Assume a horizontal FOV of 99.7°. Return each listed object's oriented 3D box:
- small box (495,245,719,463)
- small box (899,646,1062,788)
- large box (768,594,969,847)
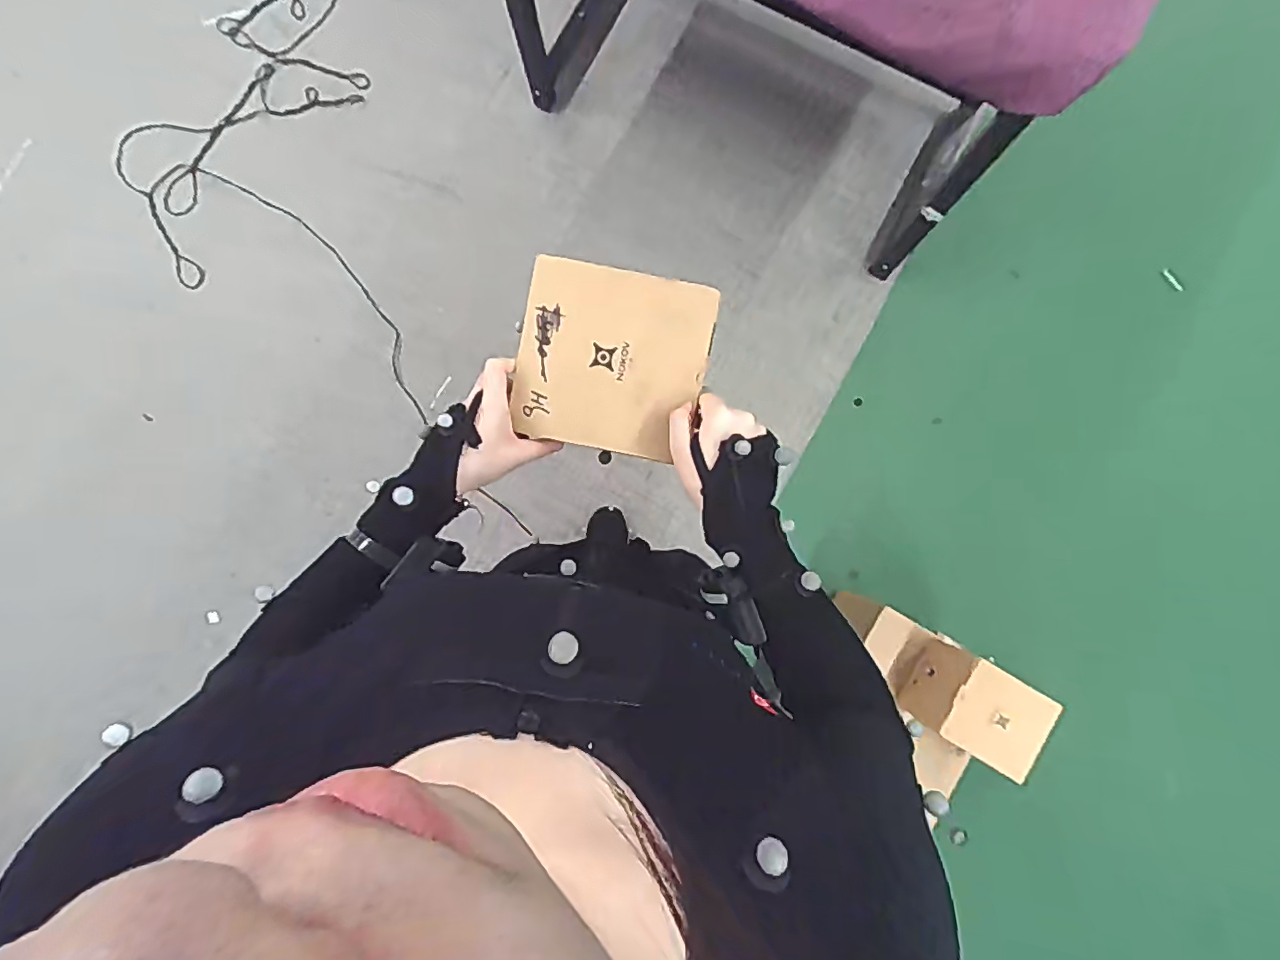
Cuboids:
[{"bbox_3d":[-0.030,-0.117,0.565,0.179,0.176,0.168,12,93,0],"label":"small box"},{"bbox_3d":[0.657,0.452,1.066,0.179,0.176,0.168,31,87,3],"label":"small box"},{"bbox_3d":[0.564,0.539,1.304,0.320,0.320,0.408,31,87,4],"label":"large box"}]
